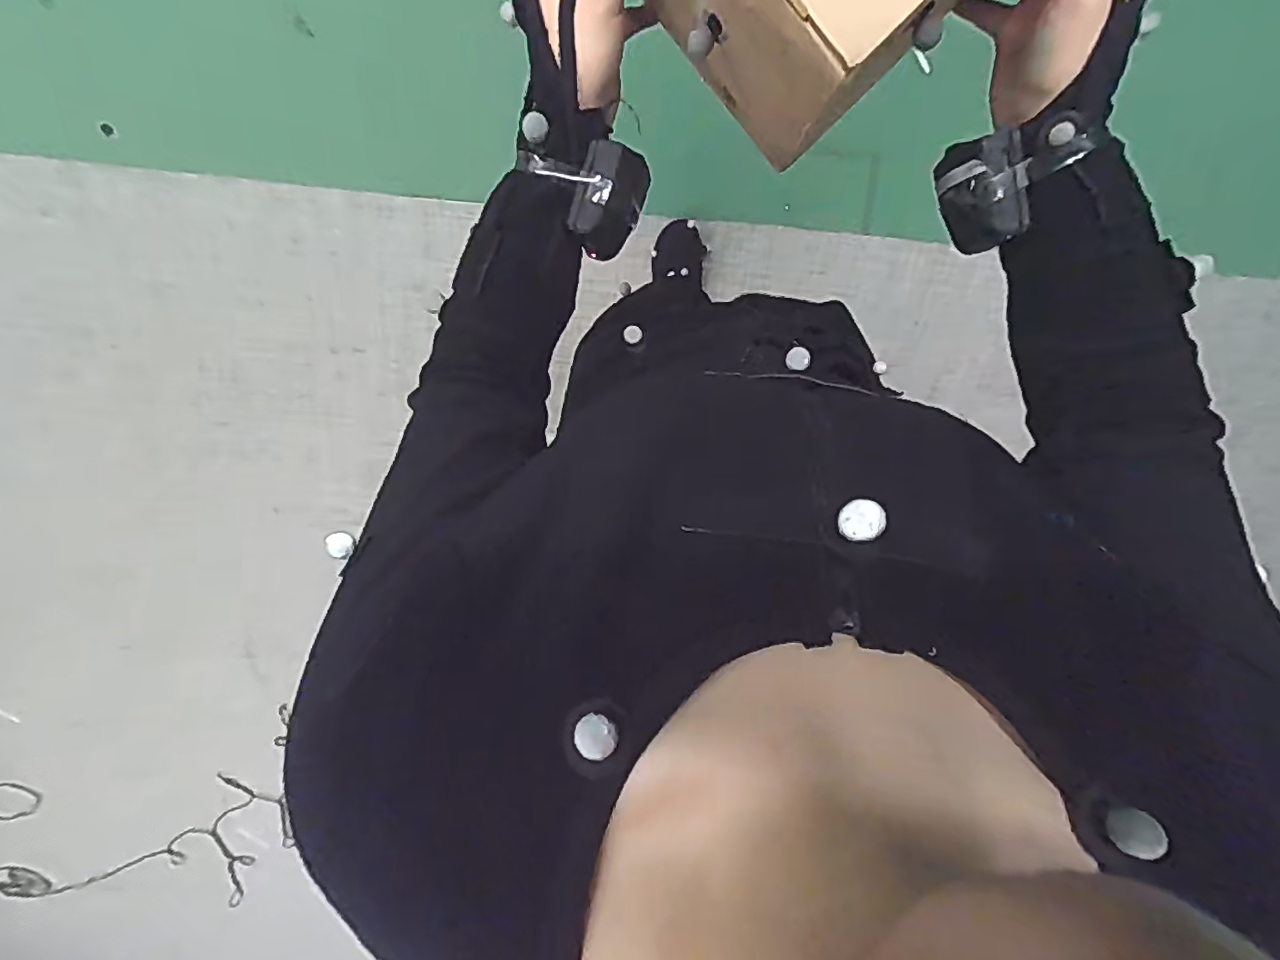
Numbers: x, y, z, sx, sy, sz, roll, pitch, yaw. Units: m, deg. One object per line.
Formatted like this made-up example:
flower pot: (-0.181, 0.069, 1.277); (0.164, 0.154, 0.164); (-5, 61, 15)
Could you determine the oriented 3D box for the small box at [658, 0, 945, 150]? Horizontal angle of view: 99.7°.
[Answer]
small box: (0.102, -0.323, 0.290); (0.179, 0.176, 0.168); (-41, 99, 15)
